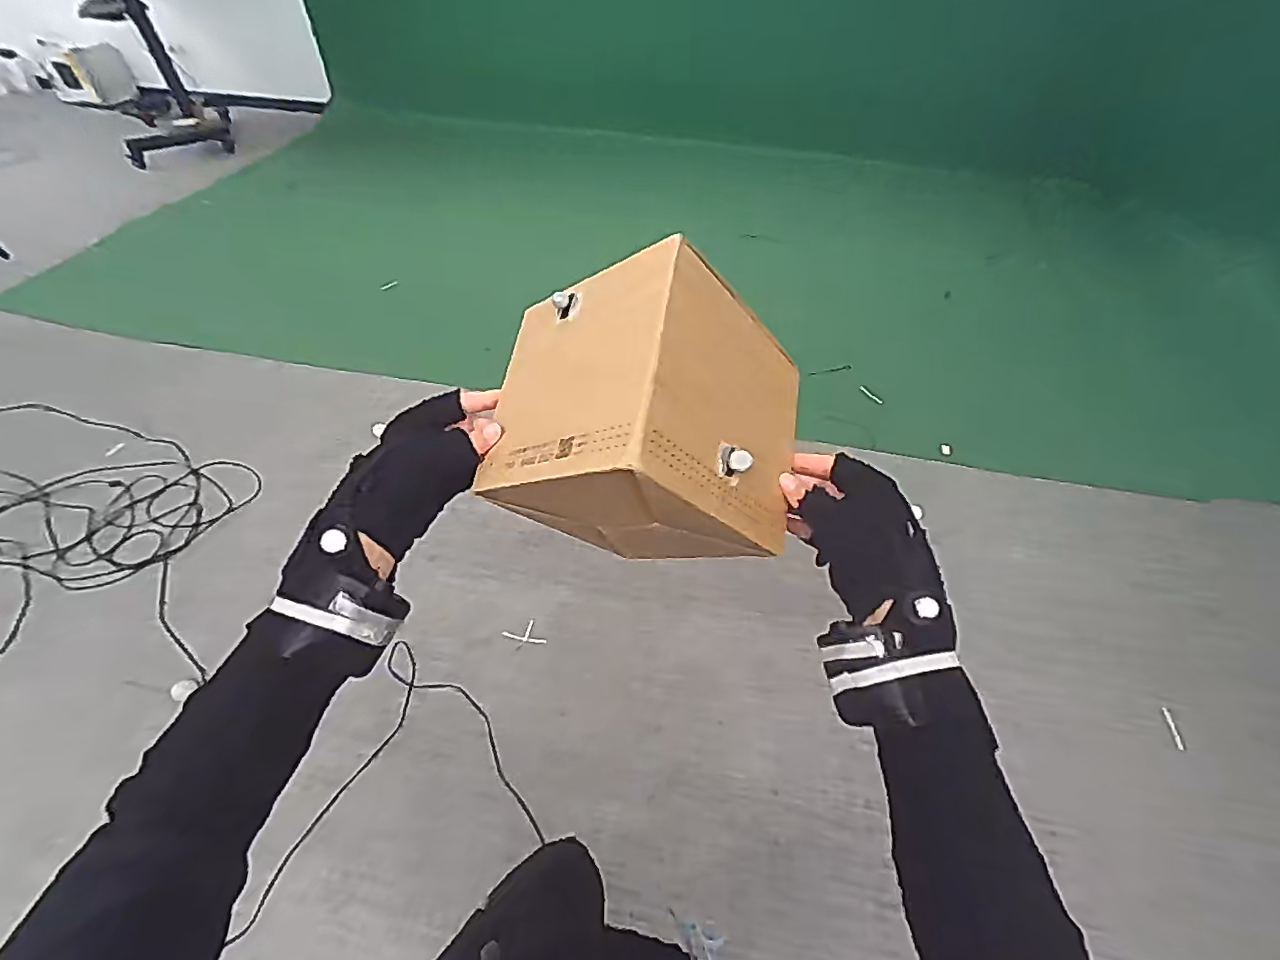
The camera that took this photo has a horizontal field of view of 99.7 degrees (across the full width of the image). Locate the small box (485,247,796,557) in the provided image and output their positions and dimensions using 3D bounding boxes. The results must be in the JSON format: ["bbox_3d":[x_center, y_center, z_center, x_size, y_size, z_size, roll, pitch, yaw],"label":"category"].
[{"bbox_3d":[0.007,-0.039,0.437,0.168,0.179,0.176,-8,62,40],"label":"small box"}]
